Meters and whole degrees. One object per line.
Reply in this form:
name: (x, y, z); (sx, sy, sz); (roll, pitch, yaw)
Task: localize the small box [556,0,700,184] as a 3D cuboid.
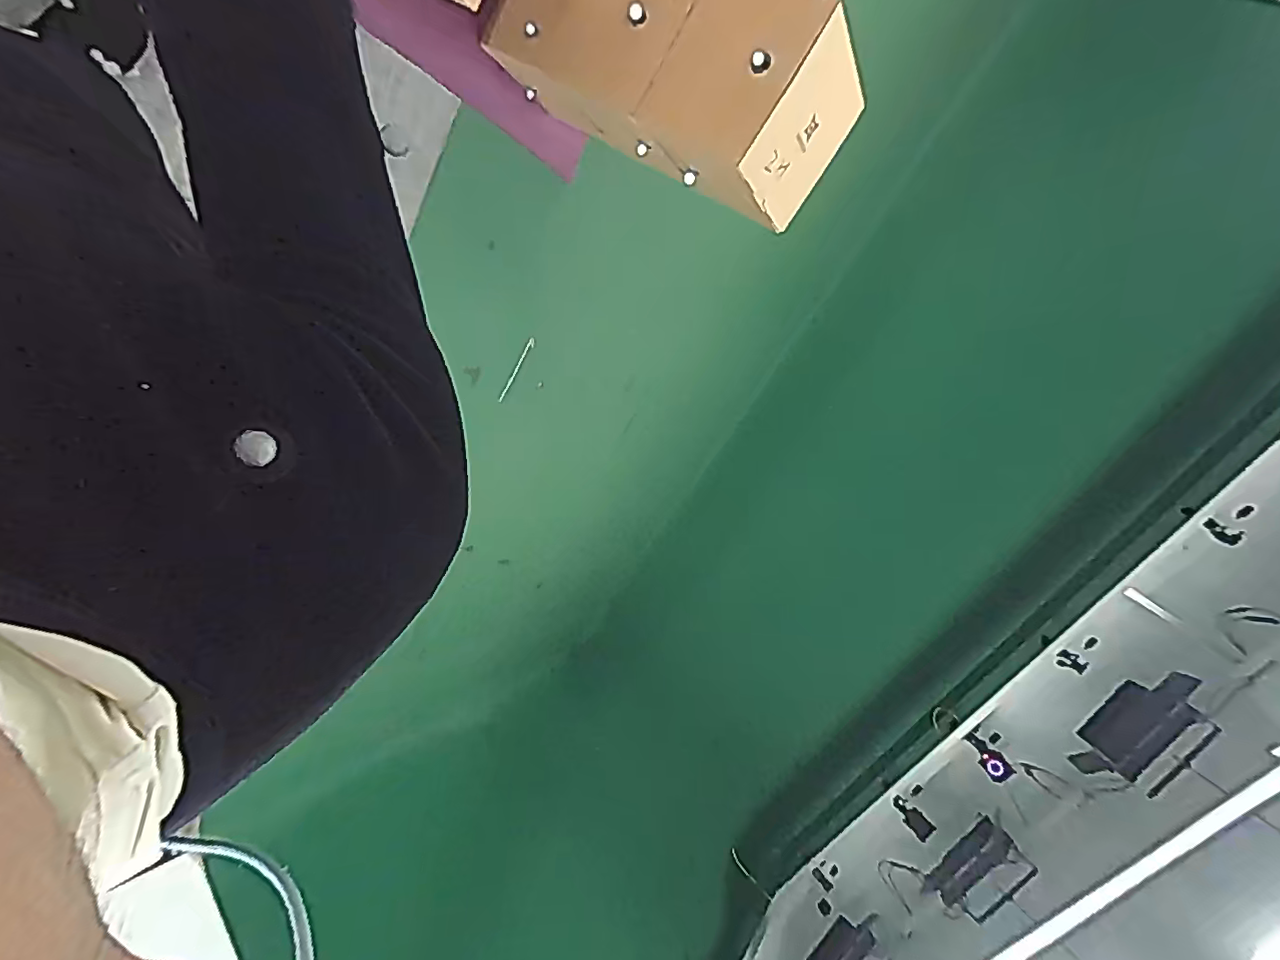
small box: (0.019, -0.545, 0.720); (0.179, 0.176, 0.168); (-57, 153, 16)

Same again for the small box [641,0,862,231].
small box: (0.132, -0.446, 0.651); (0.179, 0.176, 0.168); (-56, 153, 16)
